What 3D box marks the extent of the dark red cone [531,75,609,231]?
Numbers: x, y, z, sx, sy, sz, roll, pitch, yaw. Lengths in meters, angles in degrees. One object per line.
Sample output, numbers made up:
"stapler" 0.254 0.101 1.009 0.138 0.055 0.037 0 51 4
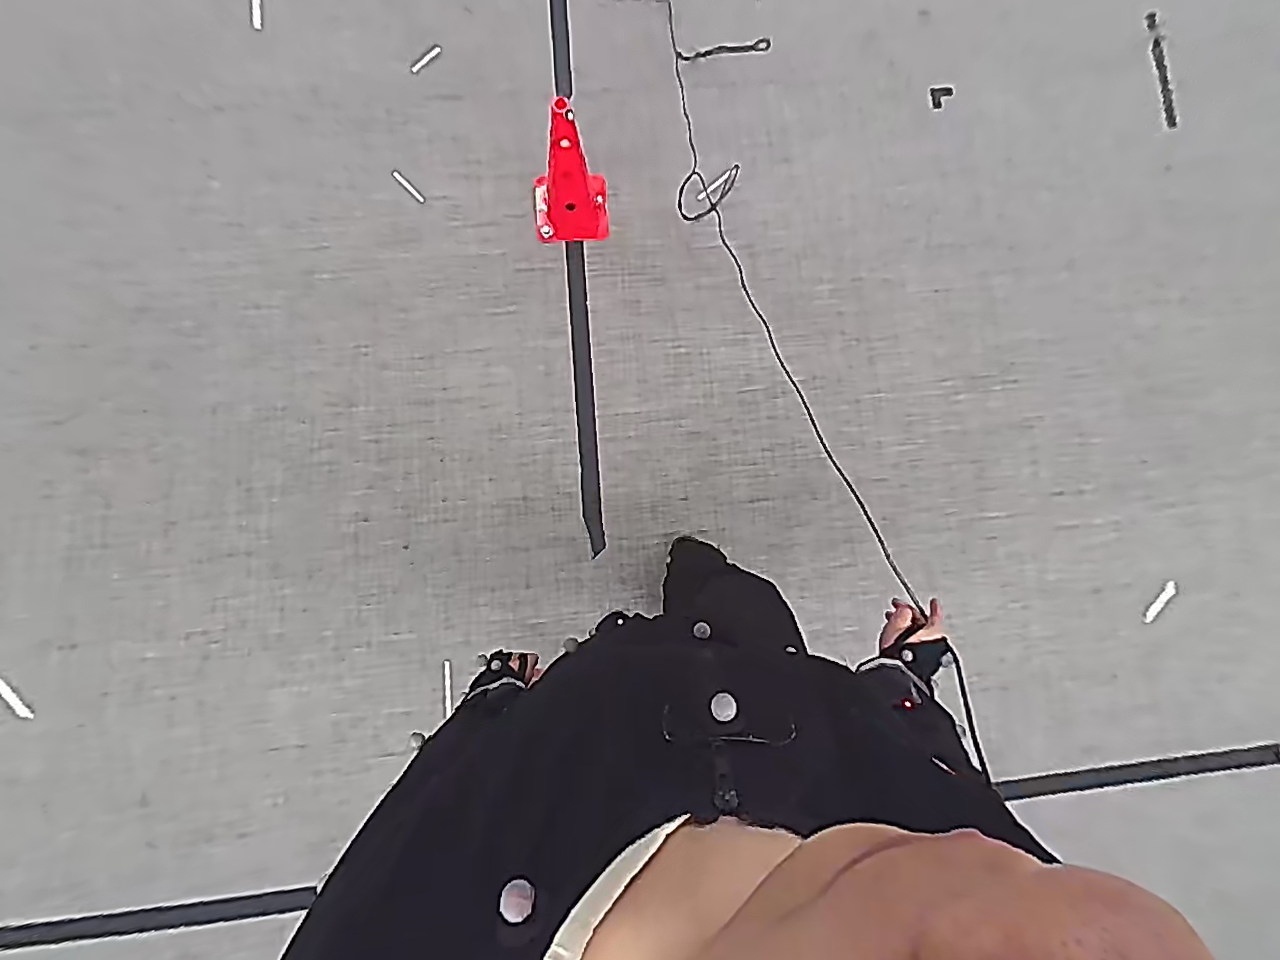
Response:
"dark red cone" -0.178 -0.792 1.312 0.201 0.394 0.202 -5 82 -5
